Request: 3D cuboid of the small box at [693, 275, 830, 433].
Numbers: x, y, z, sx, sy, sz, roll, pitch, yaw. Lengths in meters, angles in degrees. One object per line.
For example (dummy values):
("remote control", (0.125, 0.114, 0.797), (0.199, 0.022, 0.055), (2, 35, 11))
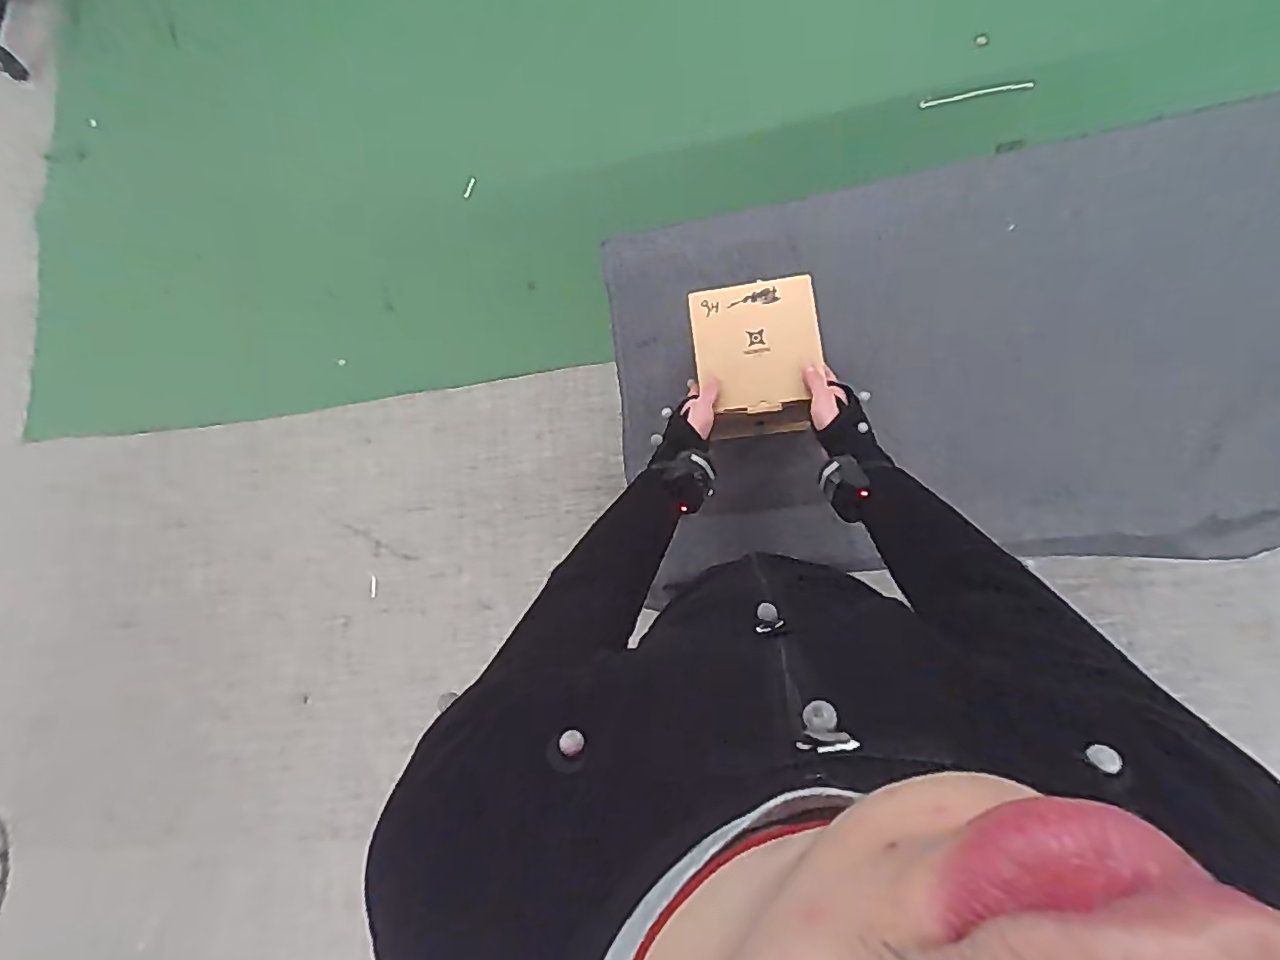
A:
("small box", (0.171, -0.171, 0.796), (0.168, 0.176, 0.179), (-6, 82, 7))
